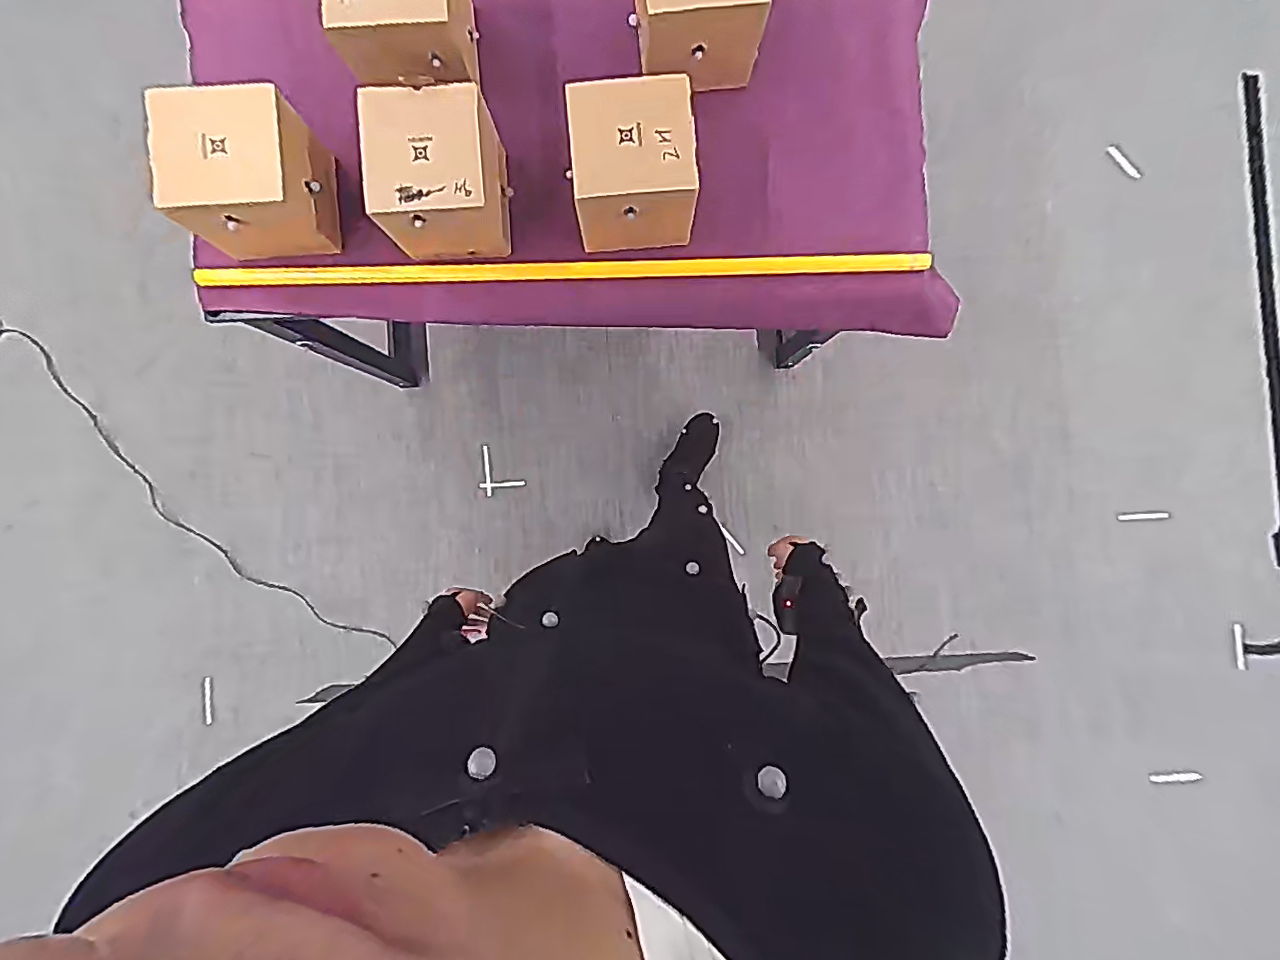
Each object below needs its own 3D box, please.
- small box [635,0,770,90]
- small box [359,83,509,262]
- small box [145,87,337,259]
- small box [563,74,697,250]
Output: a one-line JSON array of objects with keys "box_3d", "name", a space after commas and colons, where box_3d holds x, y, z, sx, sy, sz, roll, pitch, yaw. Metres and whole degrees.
[{"box_3d": [0.086, -0.730, 0.822, 0.179, 0.176, 0.168, -6, 91, 0], "name": "small box"}, {"box_3d": [-0.300, -0.452, 0.817, 0.168, 0.176, 0.179, -3, 89, 0], "name": "small box"}, {"box_3d": [-0.580, -0.448, 0.813, 0.179, 0.176, 0.168, -4, 89, -1], "name": "small box"}, {"box_3d": [-0.014, -0.466, 0.819, 0.179, 0.176, 0.168, -5, 88, -1], "name": "small box"}]
